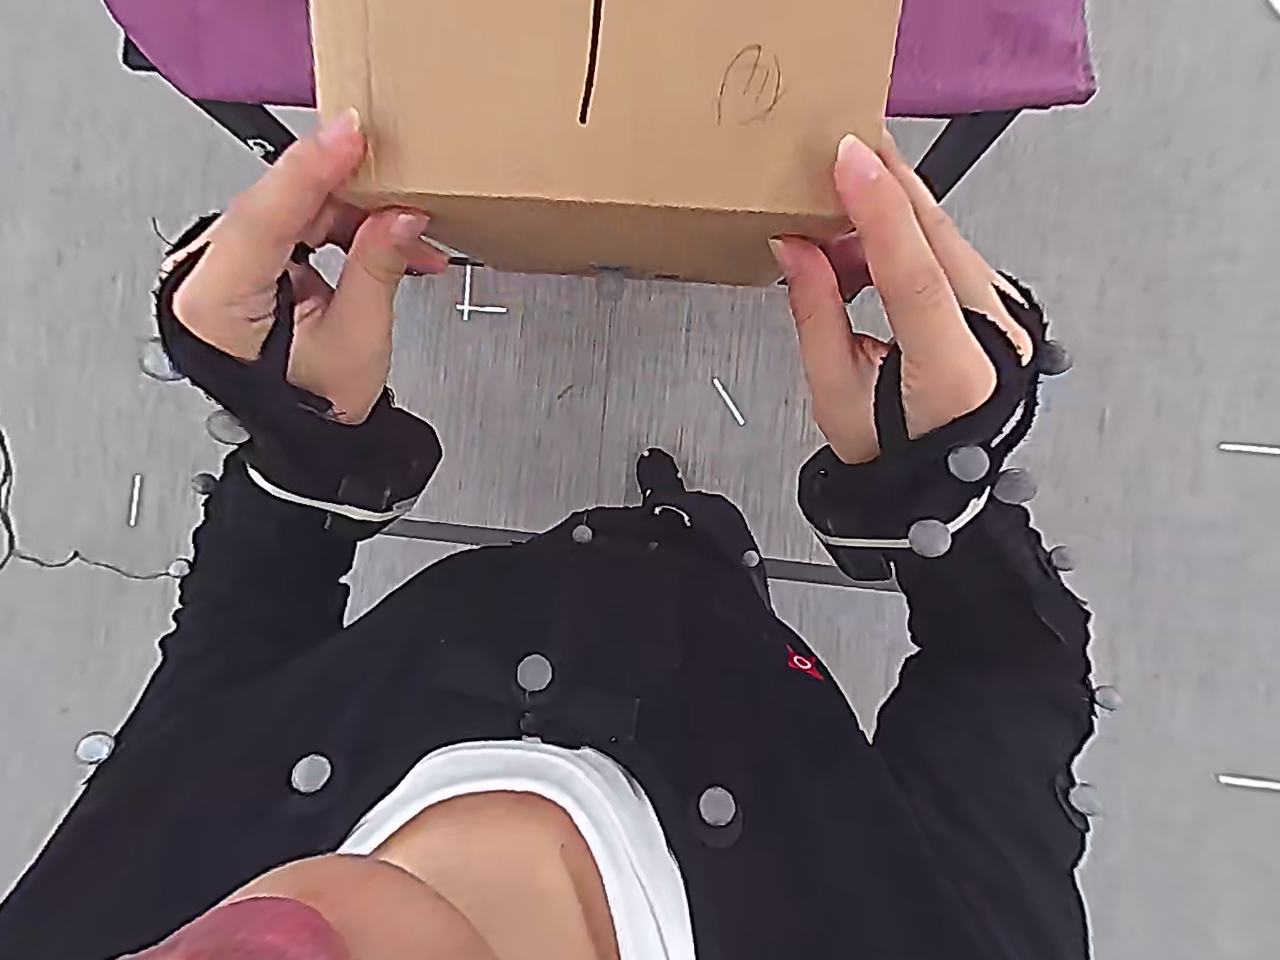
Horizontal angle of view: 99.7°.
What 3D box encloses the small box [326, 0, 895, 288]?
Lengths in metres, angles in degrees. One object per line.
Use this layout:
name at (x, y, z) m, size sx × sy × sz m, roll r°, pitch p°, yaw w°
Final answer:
small box at (-0.003, -0.187, 0.226) m, size 0.168 × 0.176 × 0.179 m, roll 5°, pitch 104°, yaw 3°
